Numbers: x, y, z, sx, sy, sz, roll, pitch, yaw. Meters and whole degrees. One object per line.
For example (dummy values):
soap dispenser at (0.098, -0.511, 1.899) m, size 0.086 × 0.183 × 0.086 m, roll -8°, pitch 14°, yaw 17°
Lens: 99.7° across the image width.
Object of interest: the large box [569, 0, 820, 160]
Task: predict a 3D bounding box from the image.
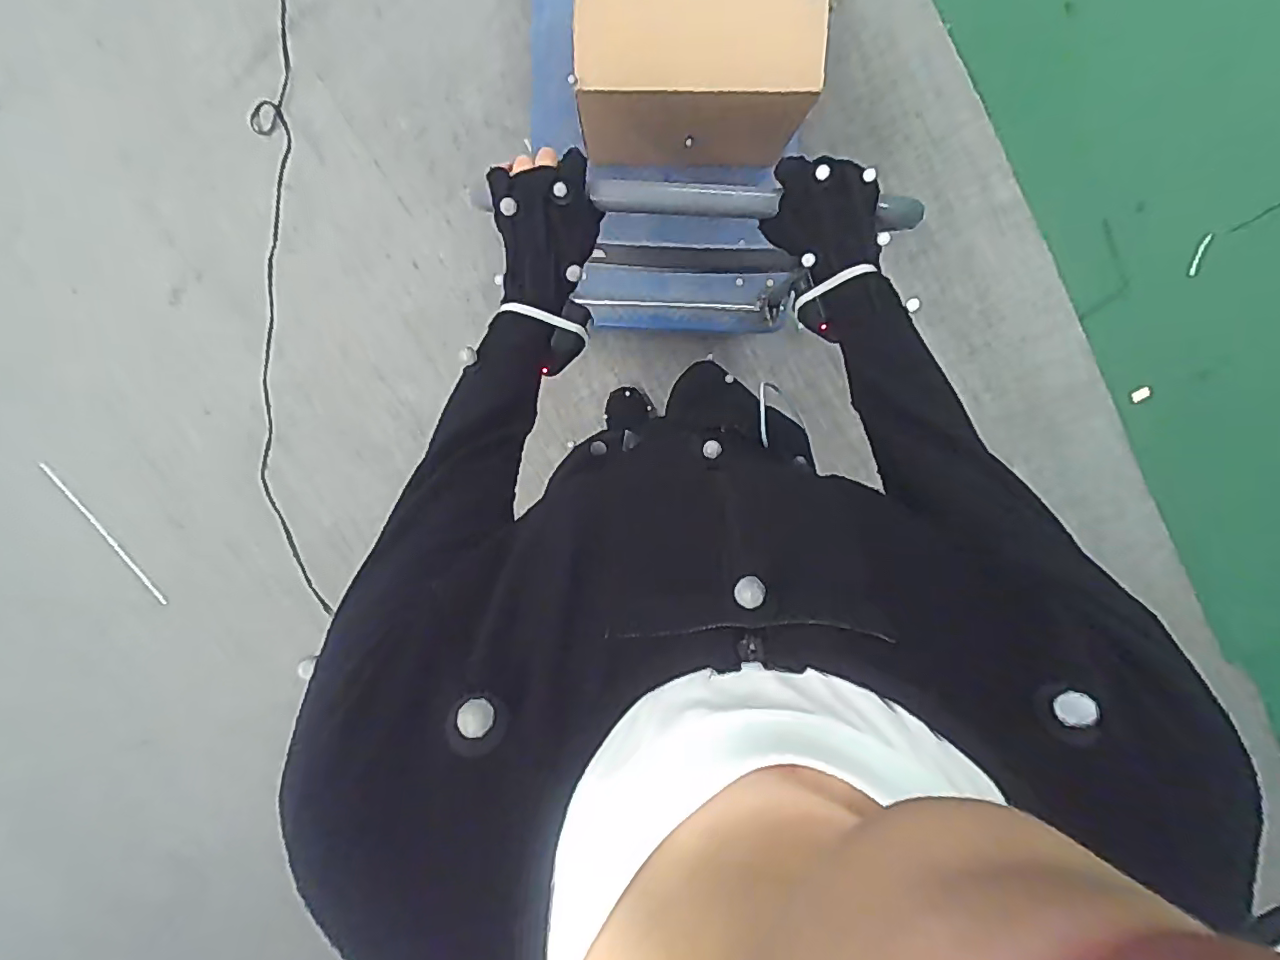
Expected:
large box at (0.085, -0.812, 0.993) m, size 0.408 × 0.320 × 0.320 m, roll -1°, pitch 100°, yaw -1°
